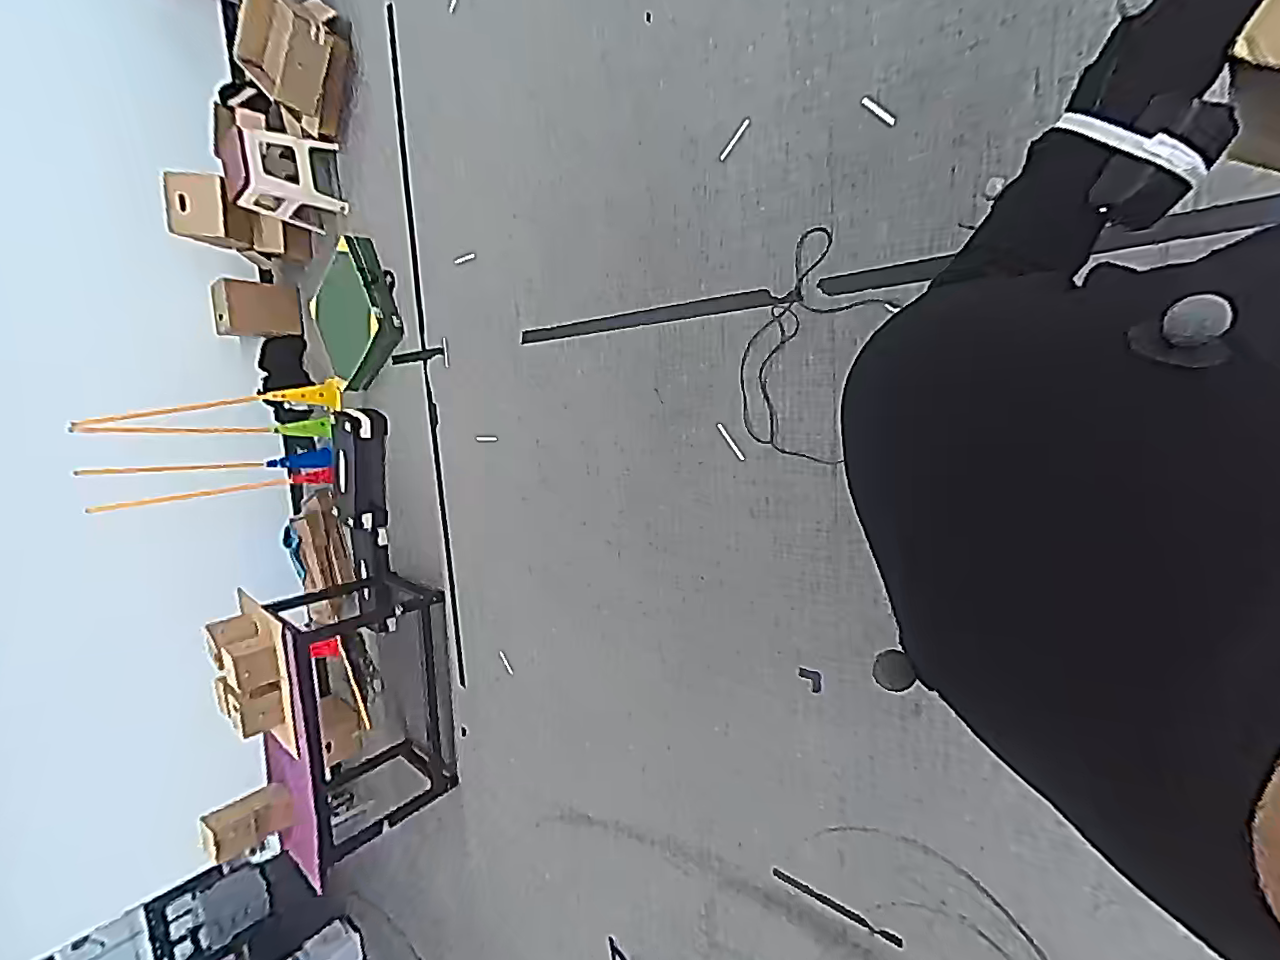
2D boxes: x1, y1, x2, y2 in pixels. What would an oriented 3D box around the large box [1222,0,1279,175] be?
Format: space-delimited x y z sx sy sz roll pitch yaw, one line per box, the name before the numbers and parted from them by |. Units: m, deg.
large box | 0.610 -0.278 0.228 0.408 0.320 0.320 42 130 29
